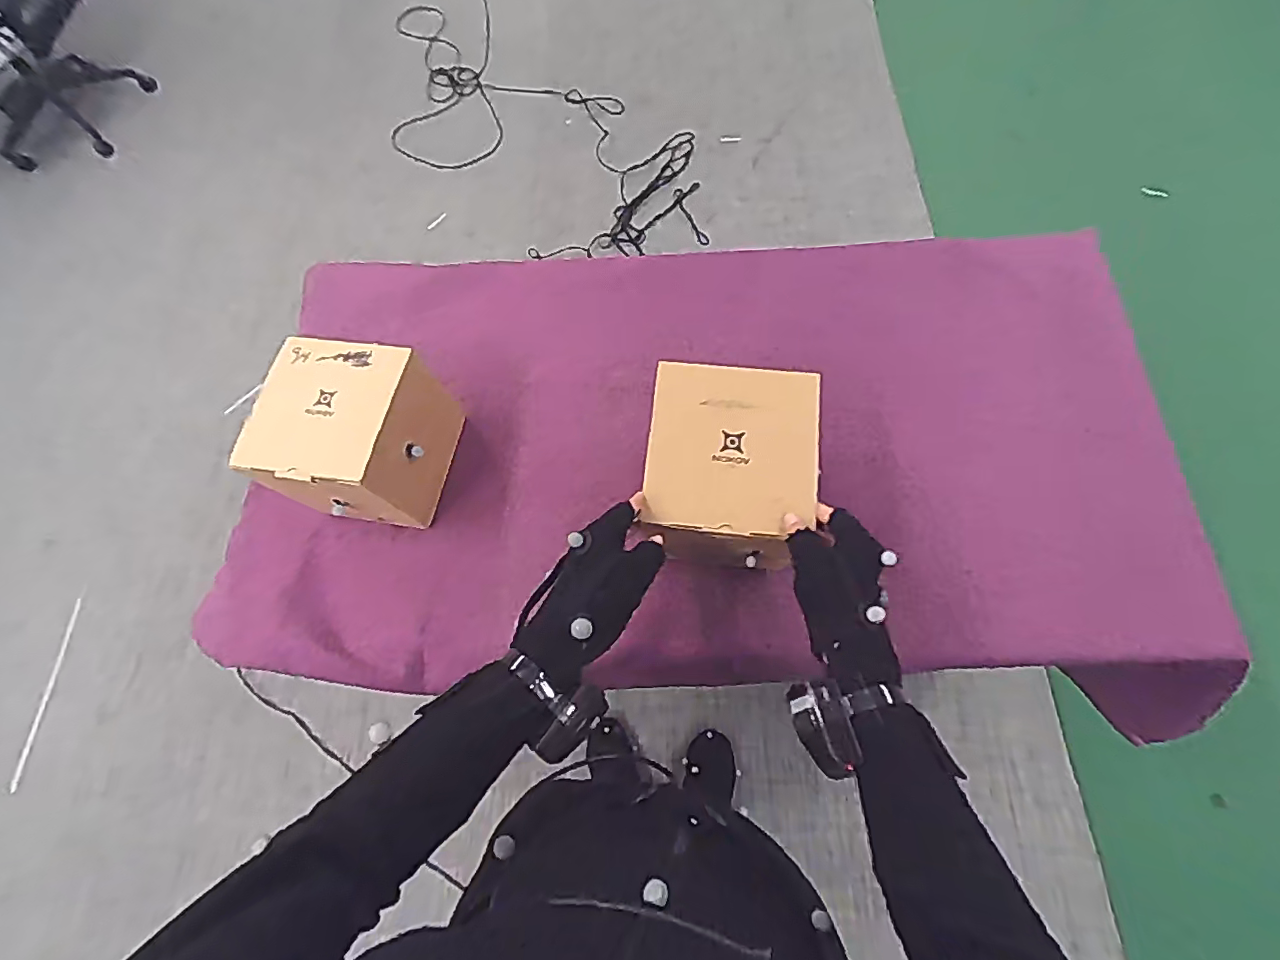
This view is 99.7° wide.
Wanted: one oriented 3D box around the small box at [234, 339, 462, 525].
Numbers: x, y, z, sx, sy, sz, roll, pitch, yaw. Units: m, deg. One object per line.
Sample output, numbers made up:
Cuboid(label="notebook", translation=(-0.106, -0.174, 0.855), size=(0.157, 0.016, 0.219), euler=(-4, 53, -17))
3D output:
Cuboid(label="small box", translation=(-0.350, -0.052, 0.689), size=(0.168, 0.176, 0.179), euler=(8, 70, 8))

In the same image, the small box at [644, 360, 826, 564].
Cuboid(label="small box", translation=(0.100, -0.010, 0.600), size=(0.168, 0.176, 0.179), euler=(6, 72, 5))
